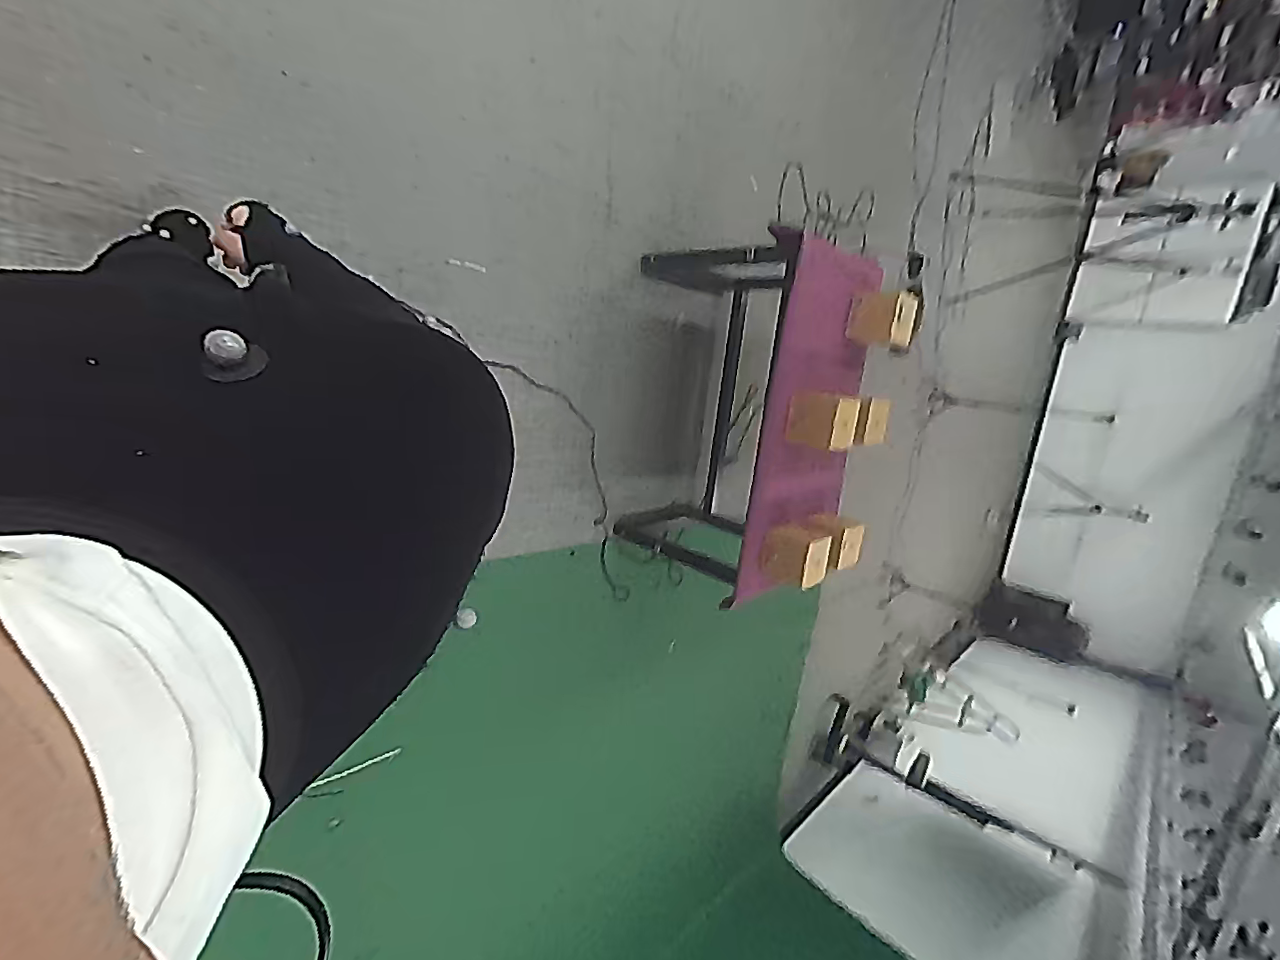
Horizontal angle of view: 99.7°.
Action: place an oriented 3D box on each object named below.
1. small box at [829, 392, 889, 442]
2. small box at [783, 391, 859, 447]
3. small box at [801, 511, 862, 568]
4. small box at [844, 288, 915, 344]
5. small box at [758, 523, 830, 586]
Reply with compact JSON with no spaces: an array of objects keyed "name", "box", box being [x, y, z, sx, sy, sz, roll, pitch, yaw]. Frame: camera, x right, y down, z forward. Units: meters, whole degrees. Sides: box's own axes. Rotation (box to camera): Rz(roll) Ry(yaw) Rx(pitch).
[{"name":"small box","box":[0.797,-0.237,2.017,0.179,0.176,0.168,-5,106,-45]},{"name":"small box","box":[0.609,-0.210,1.828,0.179,0.176,0.168,-7,108,-45]},{"name":"small box","box":[0.737,0.223,2.105,0.179,0.176,0.168,-7,107,-45]},{"name":"small box","box":[0.867,-0.594,1.964,0.179,0.176,0.168,-2,105,-45]},{"name":"small box","box":[0.544,0.257,1.908,0.179,0.176,0.168,-4,104,-46]}]
